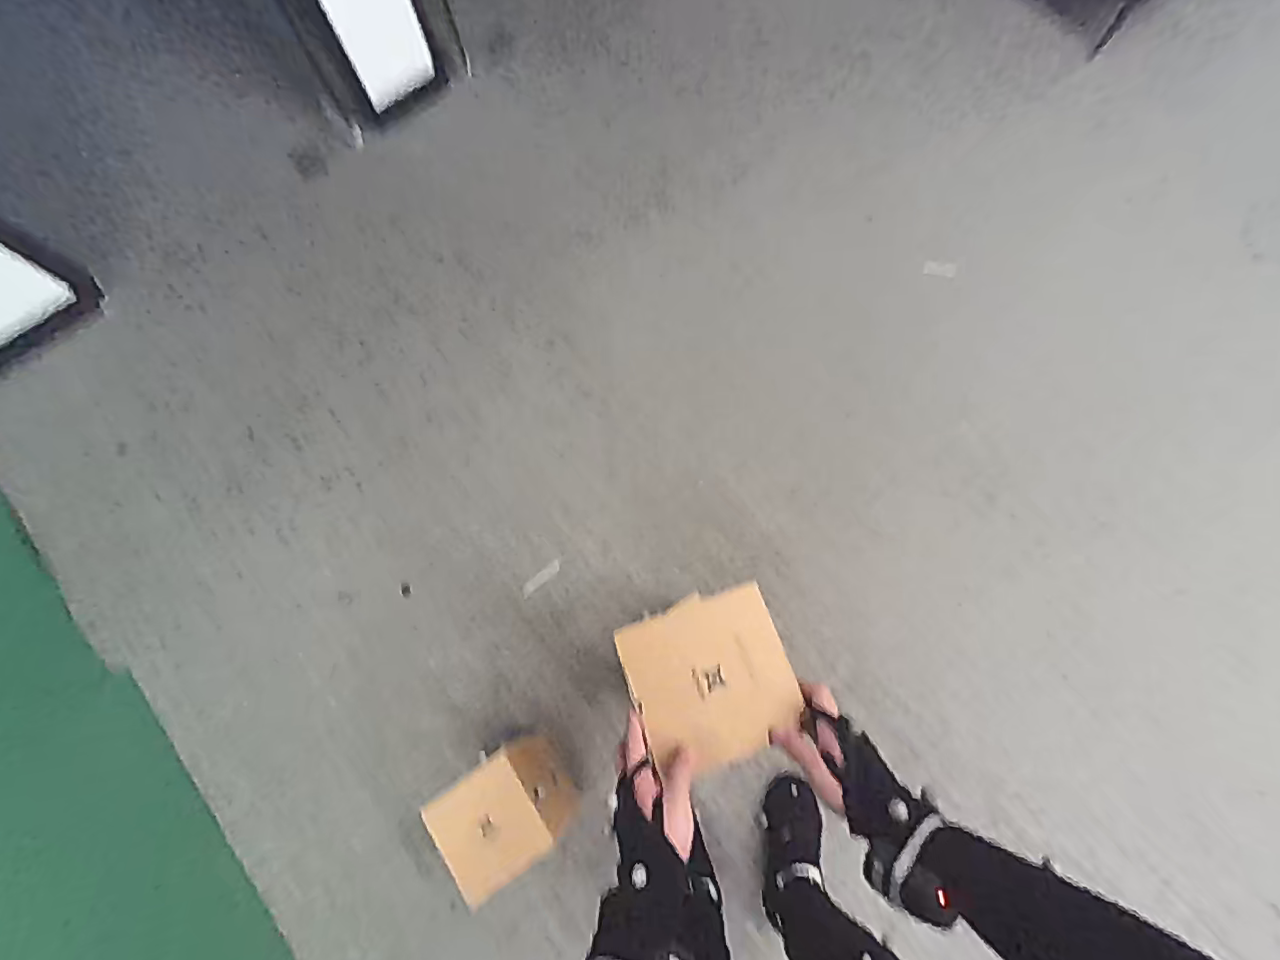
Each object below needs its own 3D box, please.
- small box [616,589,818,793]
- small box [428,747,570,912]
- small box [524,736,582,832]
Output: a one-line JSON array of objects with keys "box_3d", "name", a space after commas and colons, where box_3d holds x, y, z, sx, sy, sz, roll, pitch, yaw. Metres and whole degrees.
[{"box_3d": [0.082, 0.246, 0.653, 0.179, 0.176, 0.168, -18, 73, -5], "name": "small box"}, {"box_3d": [-0.246, 0.613, 0.981, 0.168, 0.176, 0.179, -34, 77, -9], "name": "small box"}, {"box_3d": [-0.239, 0.677, 1.148, 0.168, 0.176, 0.179, -35, 76, -9], "name": "small box"}]
